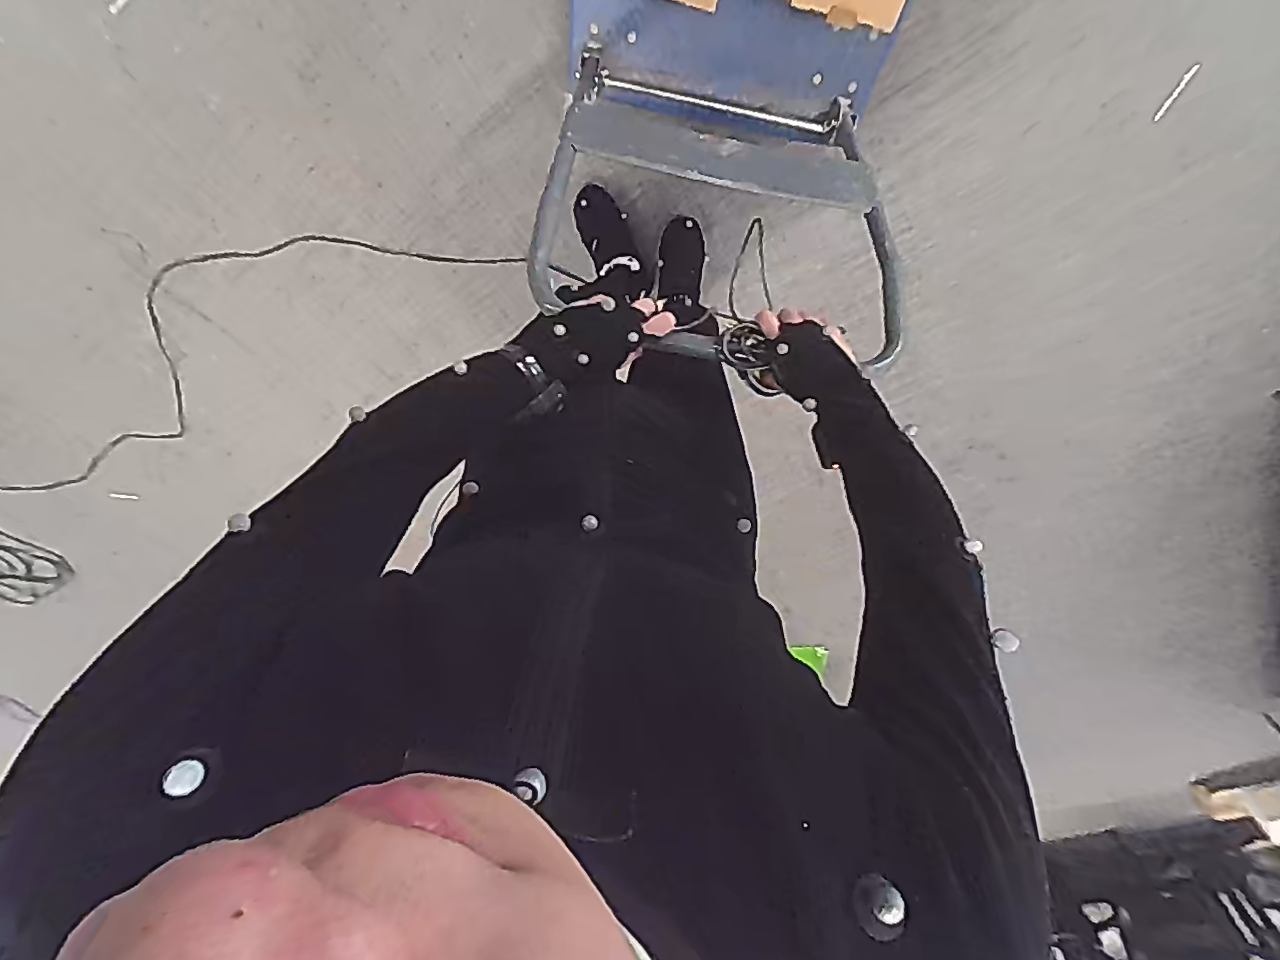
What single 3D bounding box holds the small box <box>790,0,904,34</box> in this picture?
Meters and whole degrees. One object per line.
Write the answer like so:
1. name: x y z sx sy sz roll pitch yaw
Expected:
1. small box: 0.321 -0.805 0.790 0.168 0.176 0.179 10 144 -7
